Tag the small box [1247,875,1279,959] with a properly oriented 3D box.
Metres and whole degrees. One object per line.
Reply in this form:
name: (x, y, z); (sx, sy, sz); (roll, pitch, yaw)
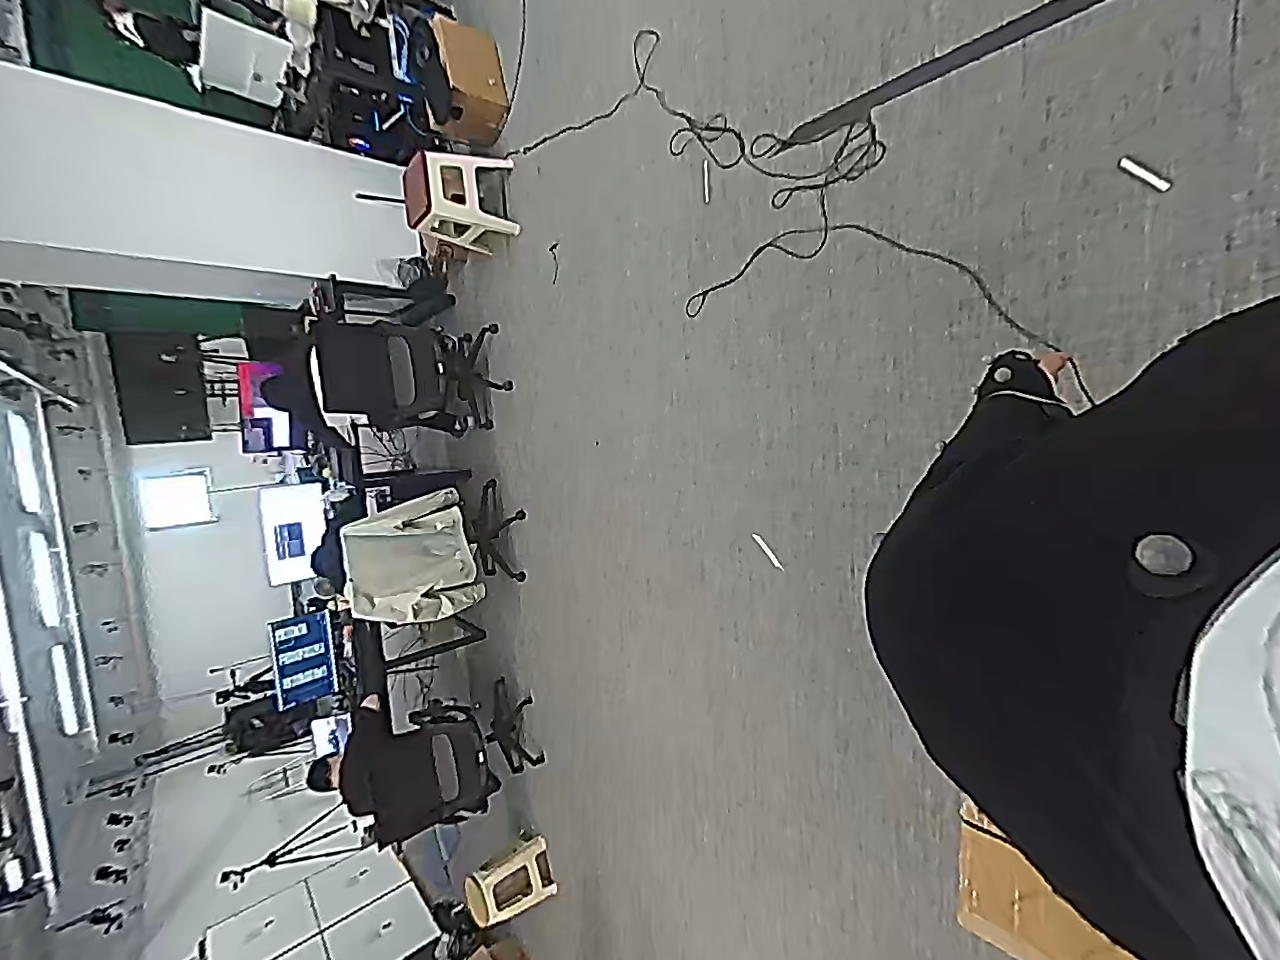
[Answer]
small box: (0.724, 0.554, 0.533); (0.168, 0.176, 0.179); (5, 97, 49)
